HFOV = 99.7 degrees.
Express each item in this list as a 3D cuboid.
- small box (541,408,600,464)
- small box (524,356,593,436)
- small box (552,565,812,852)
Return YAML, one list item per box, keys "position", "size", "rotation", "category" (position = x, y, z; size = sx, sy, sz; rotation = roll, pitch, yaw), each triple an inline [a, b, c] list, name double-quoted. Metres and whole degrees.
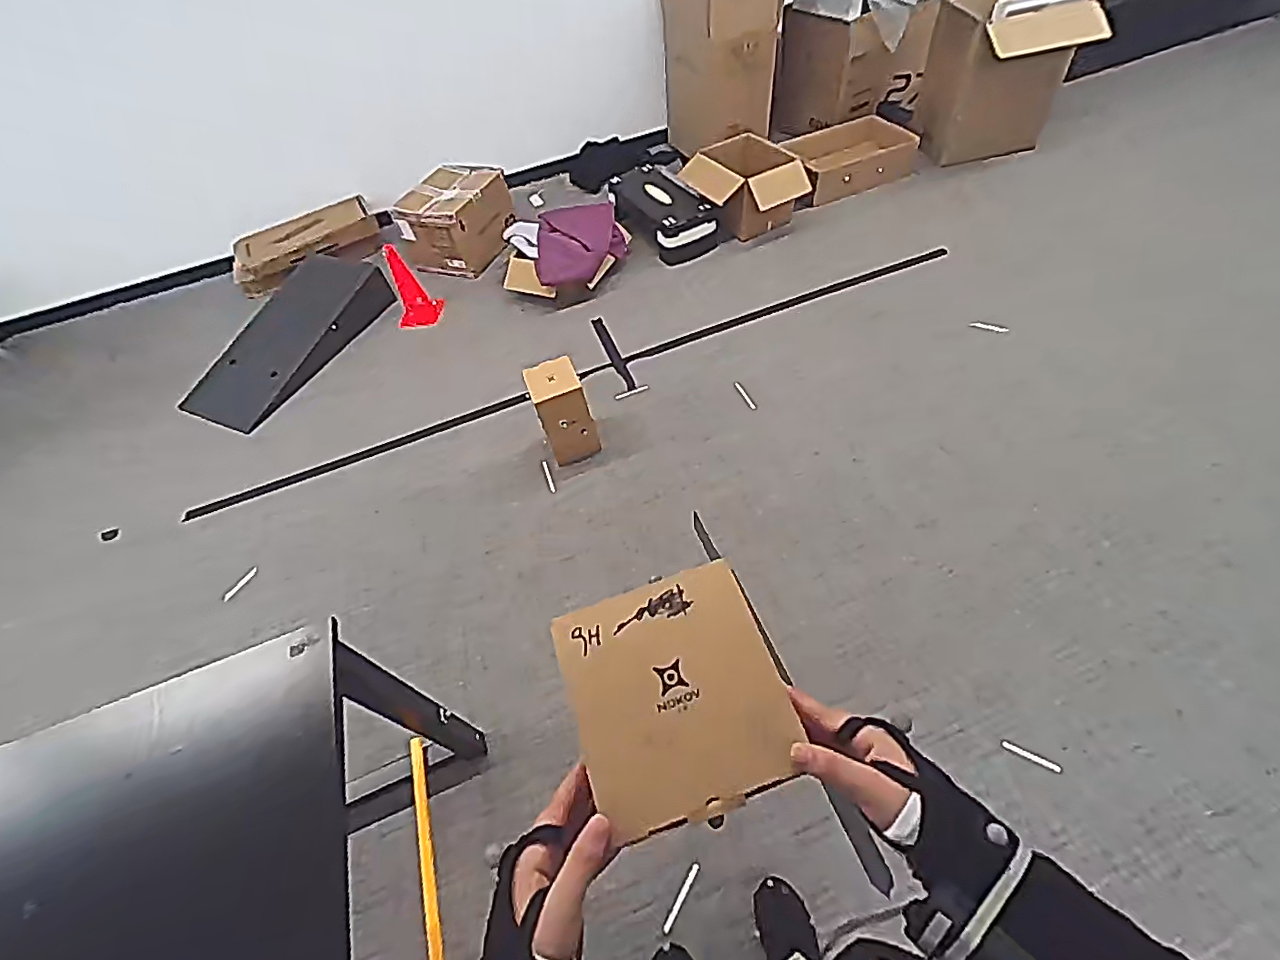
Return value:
- position: [-0.253, -0.190, 1.960]
  size: [0.179, 0.176, 0.168]
  rotation: [-22, 53, -7]
  category: "small box"
- position: [-0.273, -0.283, 1.828]
  size: [0.168, 0.176, 0.179]
  rotation: [-22, 54, -6]
  category: "small box"
- position: [0.033, 0.206, 0.504]
  size: [0.168, 0.176, 0.179]
  rotation: [-19, 63, -5]
  category: "small box"
